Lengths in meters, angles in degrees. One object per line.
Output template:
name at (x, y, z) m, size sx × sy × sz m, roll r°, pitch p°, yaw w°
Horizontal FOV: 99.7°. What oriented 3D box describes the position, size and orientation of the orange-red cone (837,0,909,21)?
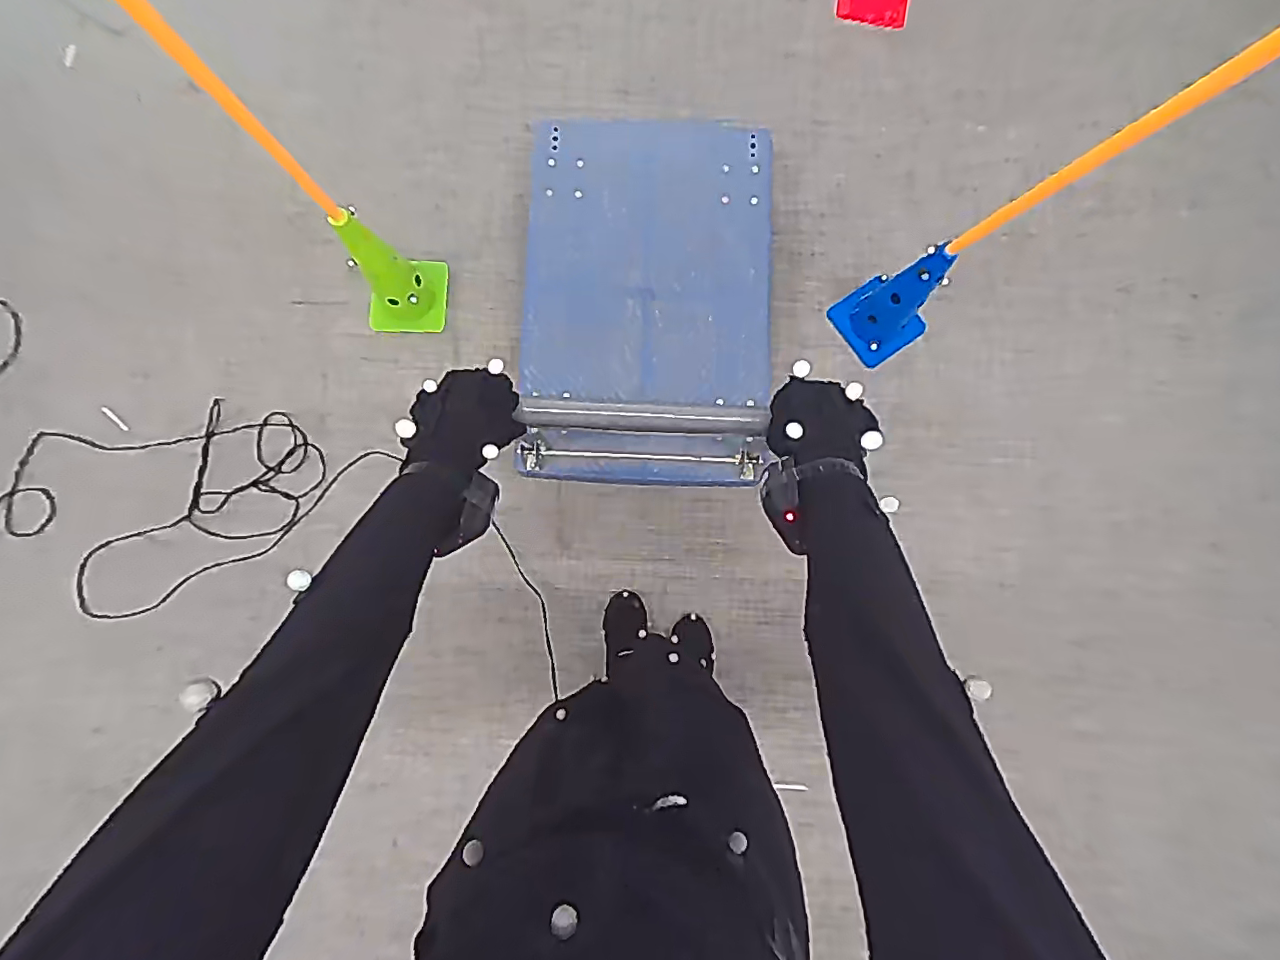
orange-red cone at (0.666, -1.420, 1.365) m, size 0.198 × 0.360 × 0.199 m, roll 13°, pitch 85°, yaw 3°
